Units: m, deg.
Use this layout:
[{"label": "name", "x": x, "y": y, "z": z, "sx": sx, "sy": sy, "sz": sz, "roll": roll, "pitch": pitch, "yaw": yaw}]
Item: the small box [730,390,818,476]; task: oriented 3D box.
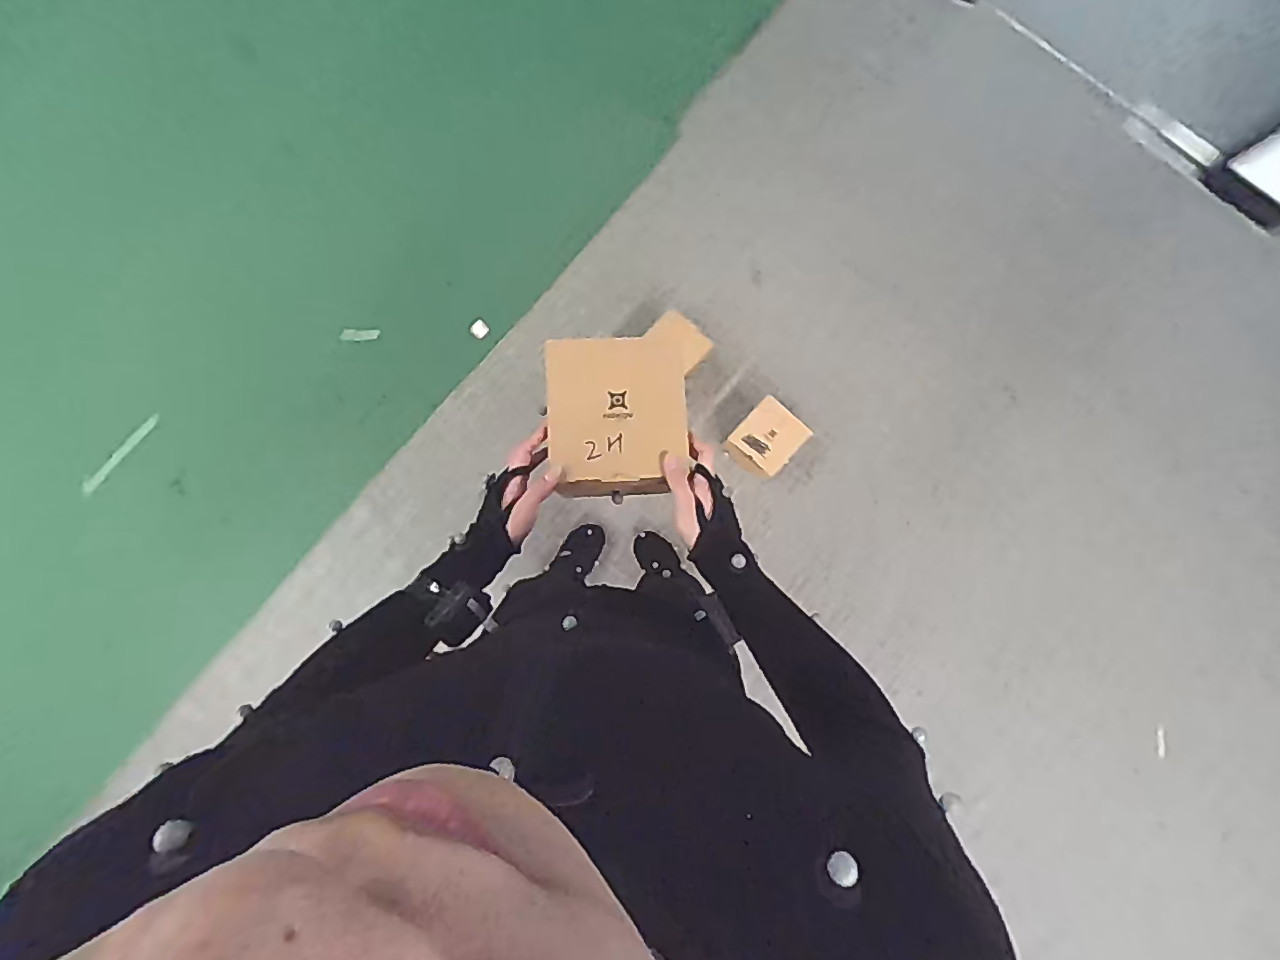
[{"label": "small box", "x": 0.380, "y": -0.128, "z": 1.575, "sx": 0.168, "sy": 0.176, "sz": 0.179, "roll": 43, "pitch": 88, "yaw": 3}]

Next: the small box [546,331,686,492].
[{"label": "small box", "x": -0.034, "y": -0.082, "z": 0.720, "sx": 0.168, "sy": 0.176, "sz": 0.179, "roll": -3, "pitch": 83, "yaw": -3}]
